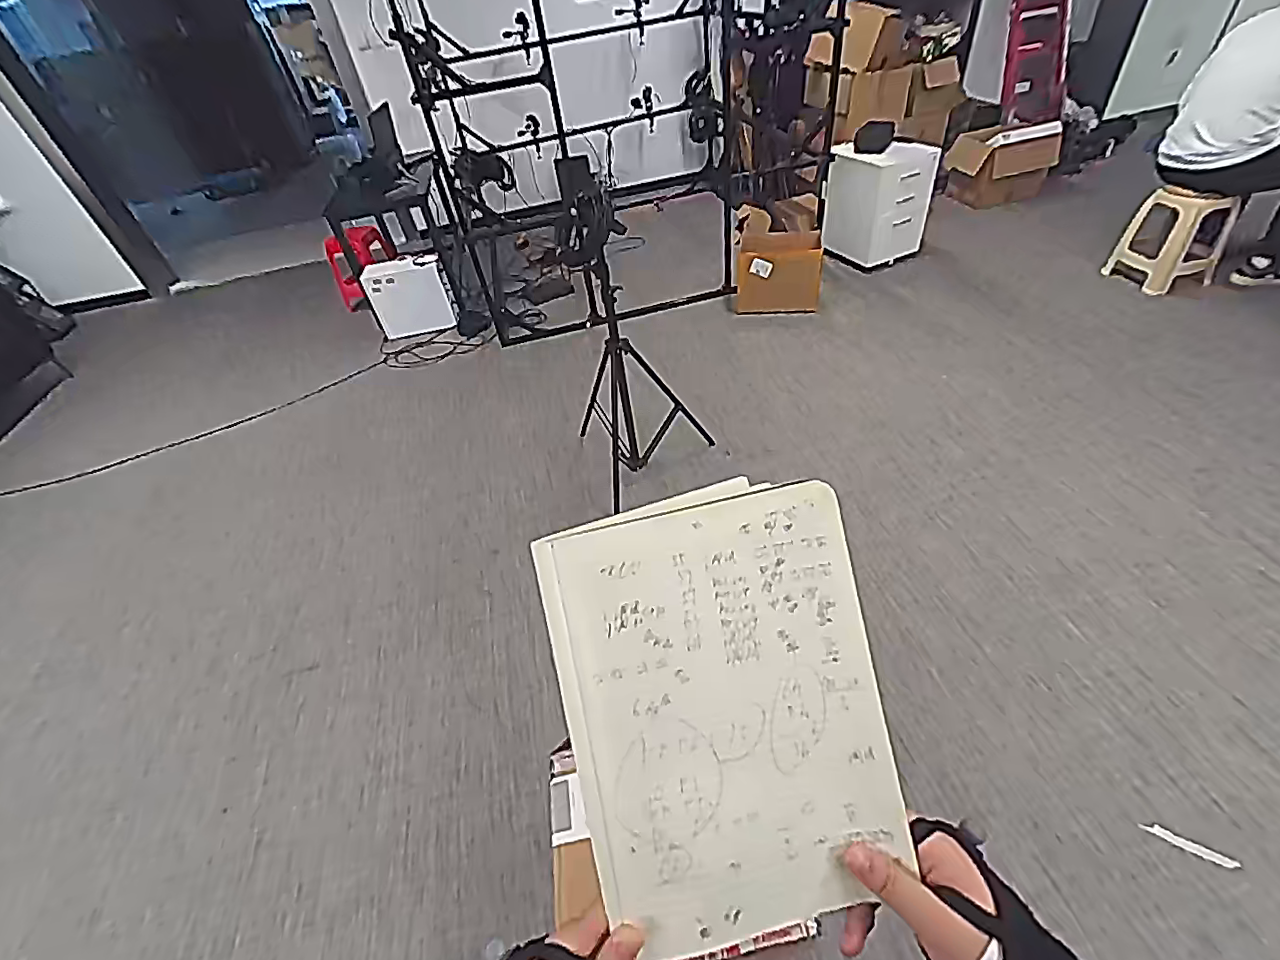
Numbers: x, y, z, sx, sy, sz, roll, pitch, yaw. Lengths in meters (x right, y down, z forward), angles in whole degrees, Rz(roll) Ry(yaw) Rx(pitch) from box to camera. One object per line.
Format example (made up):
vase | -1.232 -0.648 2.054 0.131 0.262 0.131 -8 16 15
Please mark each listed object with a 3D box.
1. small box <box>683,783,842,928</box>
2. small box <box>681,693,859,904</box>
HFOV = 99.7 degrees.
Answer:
small box | 0.173 0.540 0.816 0.179 0.176 0.168 -15 44 -7
small box | 0.154 0.416 0.710 0.168 0.176 0.179 -12 43 -6
